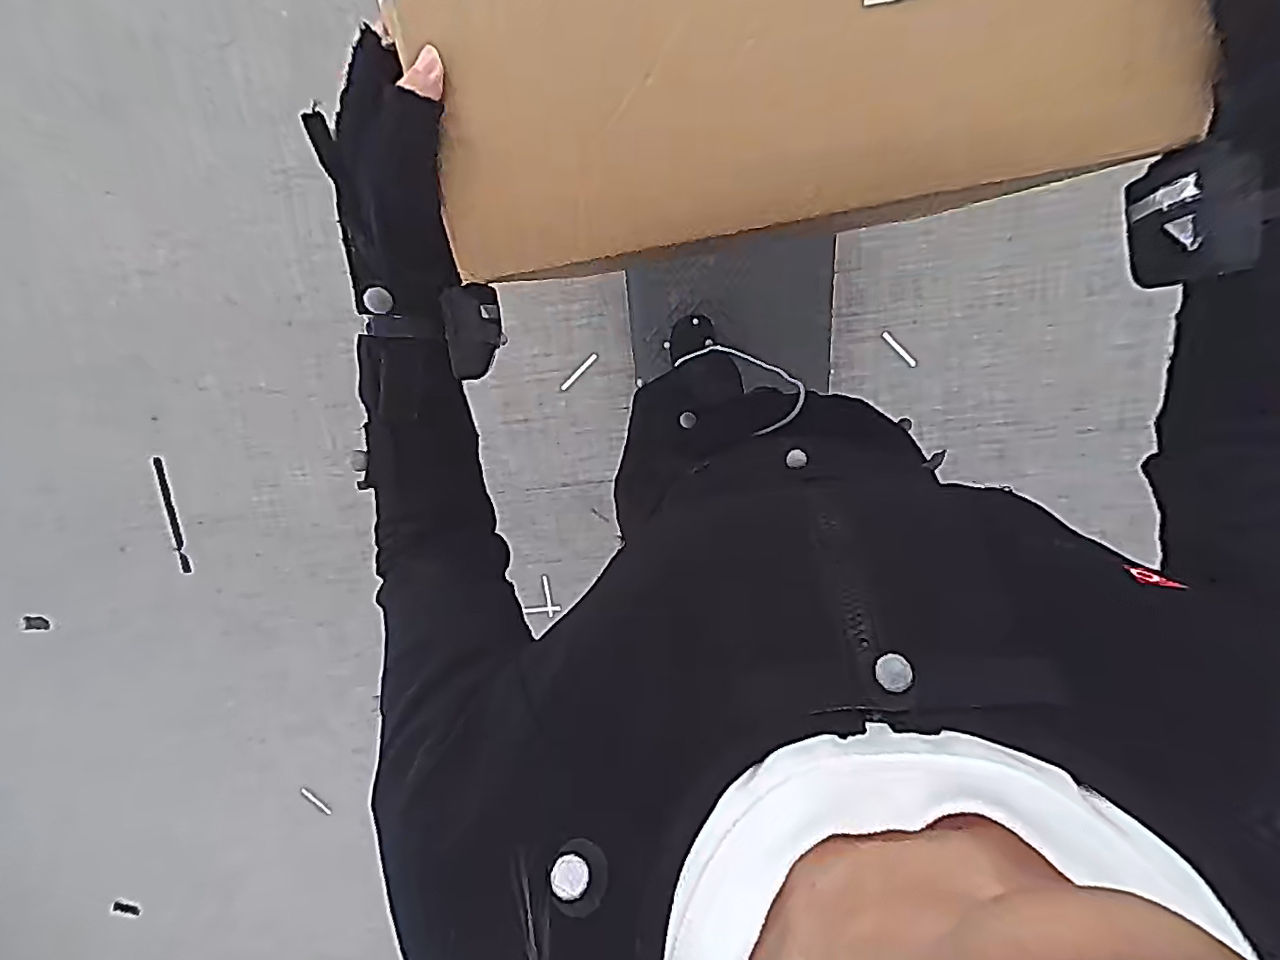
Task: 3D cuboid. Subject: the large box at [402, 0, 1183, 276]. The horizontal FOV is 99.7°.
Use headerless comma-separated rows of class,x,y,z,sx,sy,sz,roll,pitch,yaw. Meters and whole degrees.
large box,0.072,-0.353,0.407,0.408,0.320,0.320,-8,110,9
